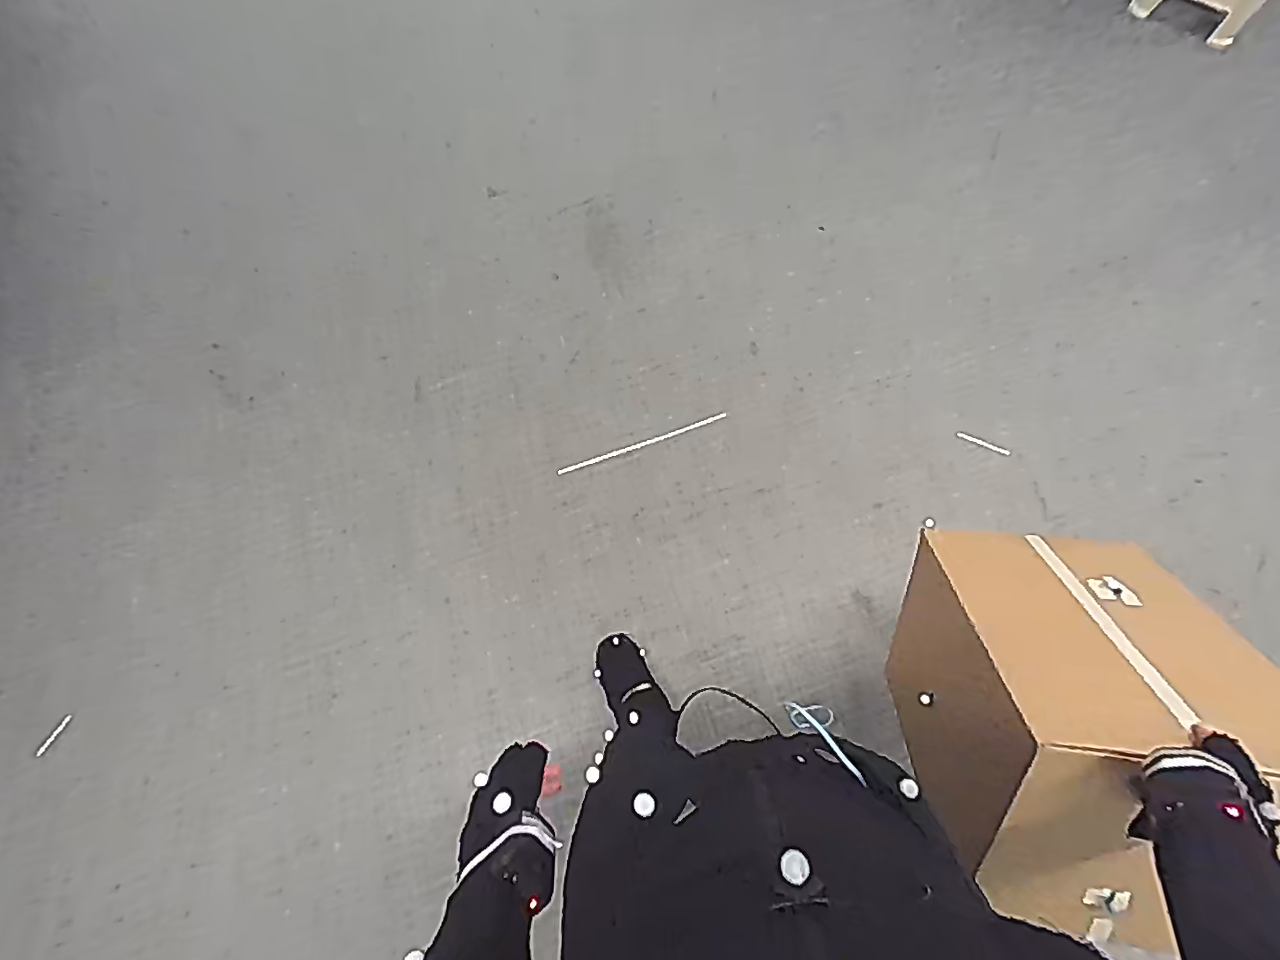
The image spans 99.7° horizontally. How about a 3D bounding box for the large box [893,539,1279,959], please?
[{"bbox_3d":[0.579,0.325,0.741,0.320,0.408,0.320,5,116,9],"label":"large box"}]
